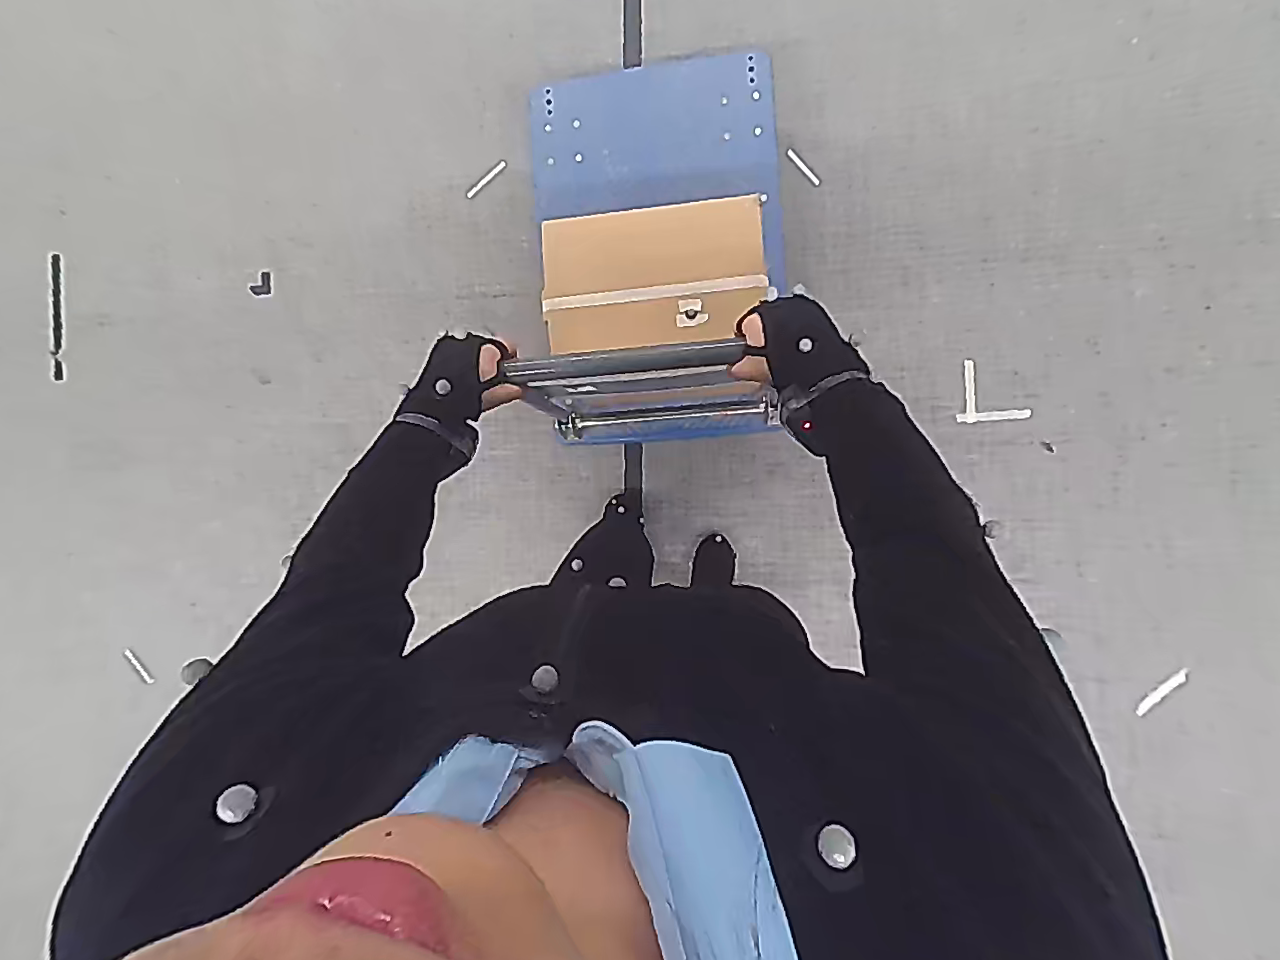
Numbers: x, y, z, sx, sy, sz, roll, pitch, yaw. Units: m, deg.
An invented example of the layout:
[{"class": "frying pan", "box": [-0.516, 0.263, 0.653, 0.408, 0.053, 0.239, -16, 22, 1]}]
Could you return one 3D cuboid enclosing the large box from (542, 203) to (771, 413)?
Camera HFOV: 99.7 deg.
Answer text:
[{"class": "large box", "box": [0.041, -0.324, 1.124, 0.408, 0.320, 0.320, -4, 91, 7]}]
